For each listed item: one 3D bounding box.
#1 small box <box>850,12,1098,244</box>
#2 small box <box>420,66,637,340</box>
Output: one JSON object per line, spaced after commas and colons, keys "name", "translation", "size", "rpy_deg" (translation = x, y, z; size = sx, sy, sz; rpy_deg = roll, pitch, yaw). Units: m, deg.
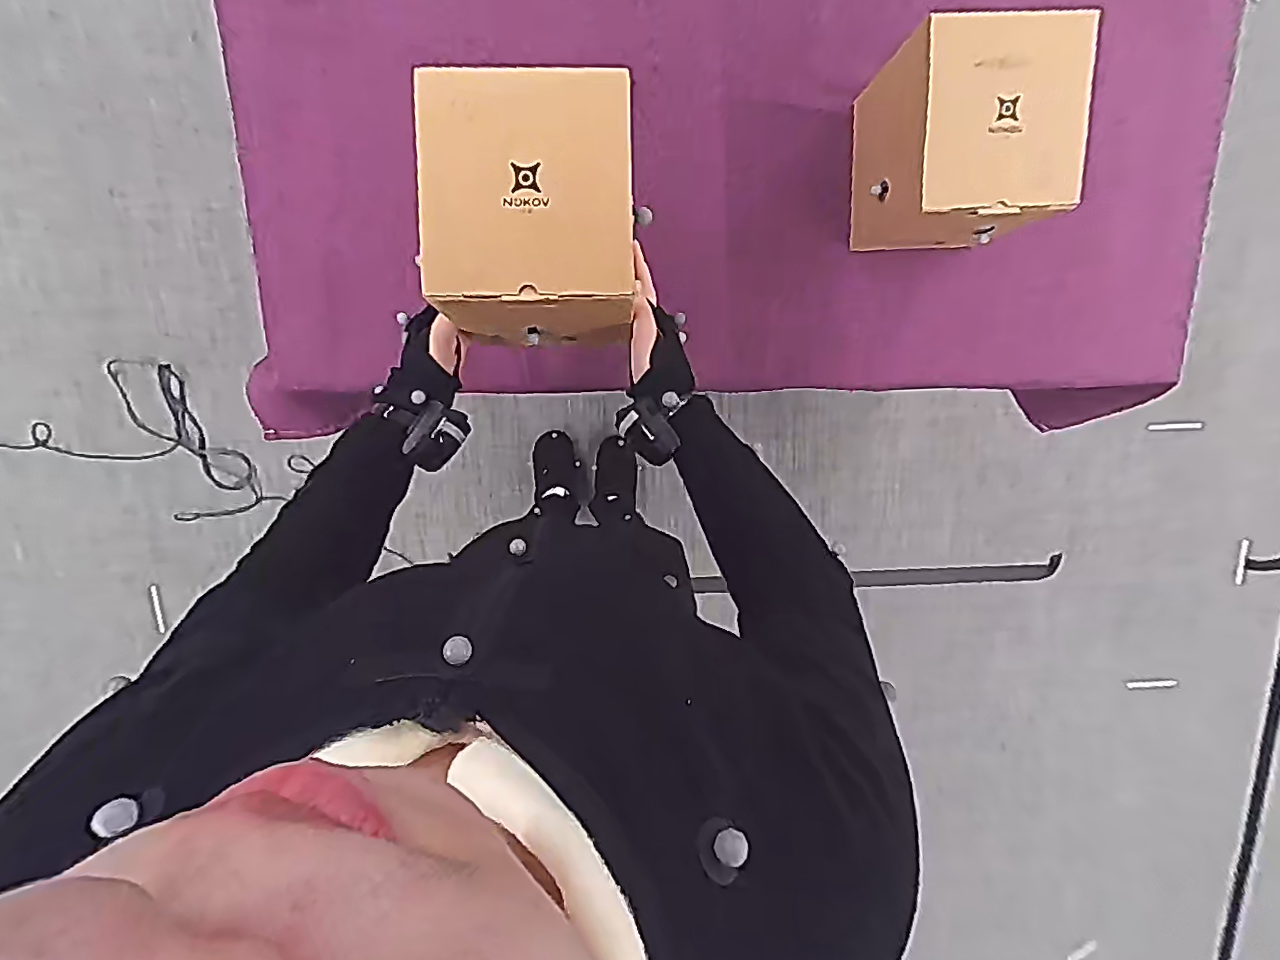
{"name": "small box", "translation": [0.349, -0.369, 0.602], "size": [0.168, 0.176, 0.179], "rpy_deg": [-2, 101, -3]}
{"name": "small box", "translation": [-0.090, -0.235, 0.499], "size": [0.168, 0.176, 0.179], "rpy_deg": [-2, 94, -2]}
